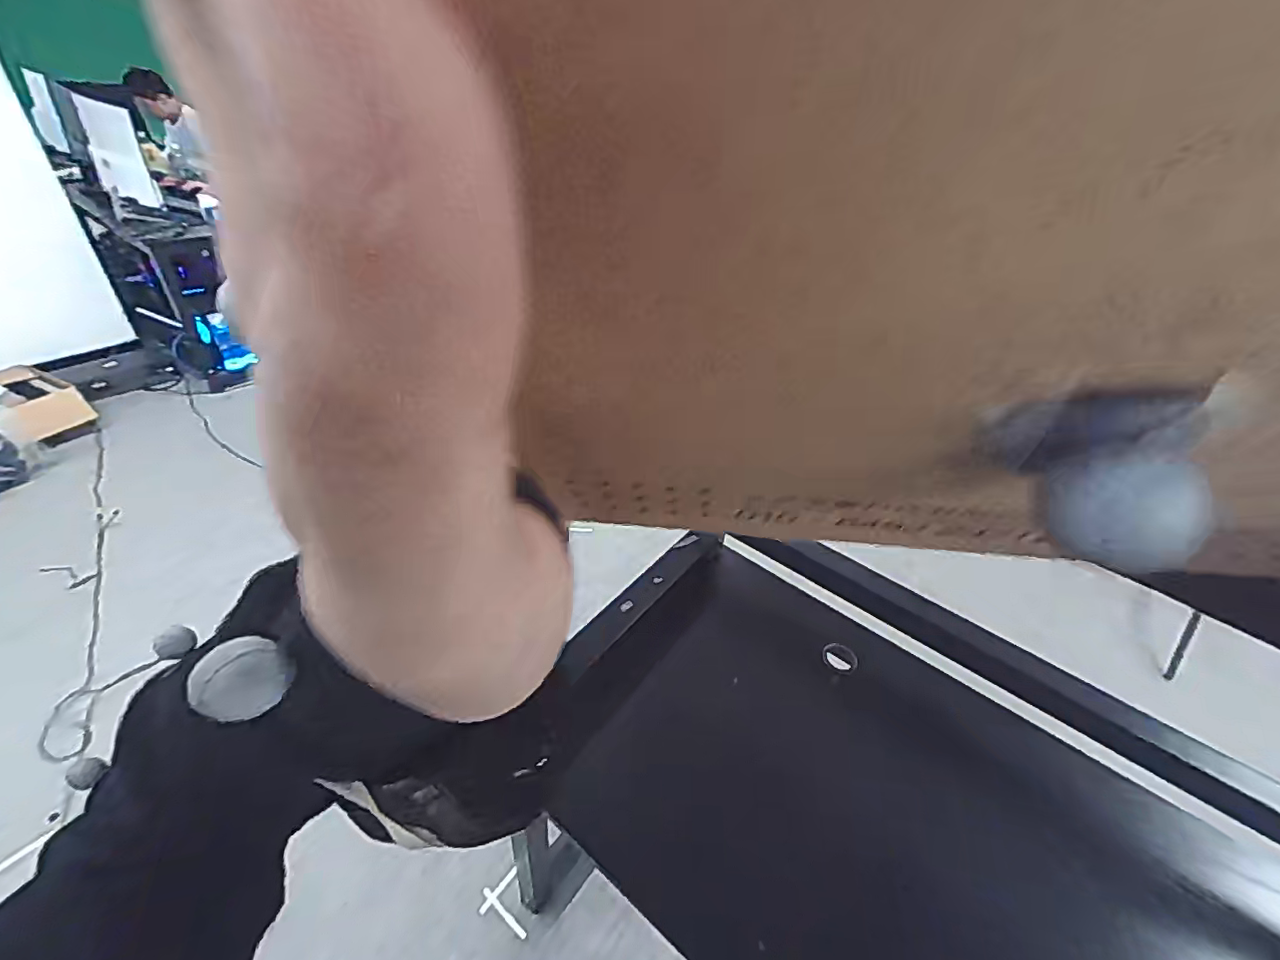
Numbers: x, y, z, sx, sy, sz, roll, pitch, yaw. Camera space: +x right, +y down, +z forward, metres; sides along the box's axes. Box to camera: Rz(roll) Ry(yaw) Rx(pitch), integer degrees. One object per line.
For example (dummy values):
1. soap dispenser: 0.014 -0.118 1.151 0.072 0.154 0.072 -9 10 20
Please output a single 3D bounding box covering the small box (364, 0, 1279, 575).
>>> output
1. small box: 0.064 -0.098 0.070 0.168 0.176 0.179 4 68 8
